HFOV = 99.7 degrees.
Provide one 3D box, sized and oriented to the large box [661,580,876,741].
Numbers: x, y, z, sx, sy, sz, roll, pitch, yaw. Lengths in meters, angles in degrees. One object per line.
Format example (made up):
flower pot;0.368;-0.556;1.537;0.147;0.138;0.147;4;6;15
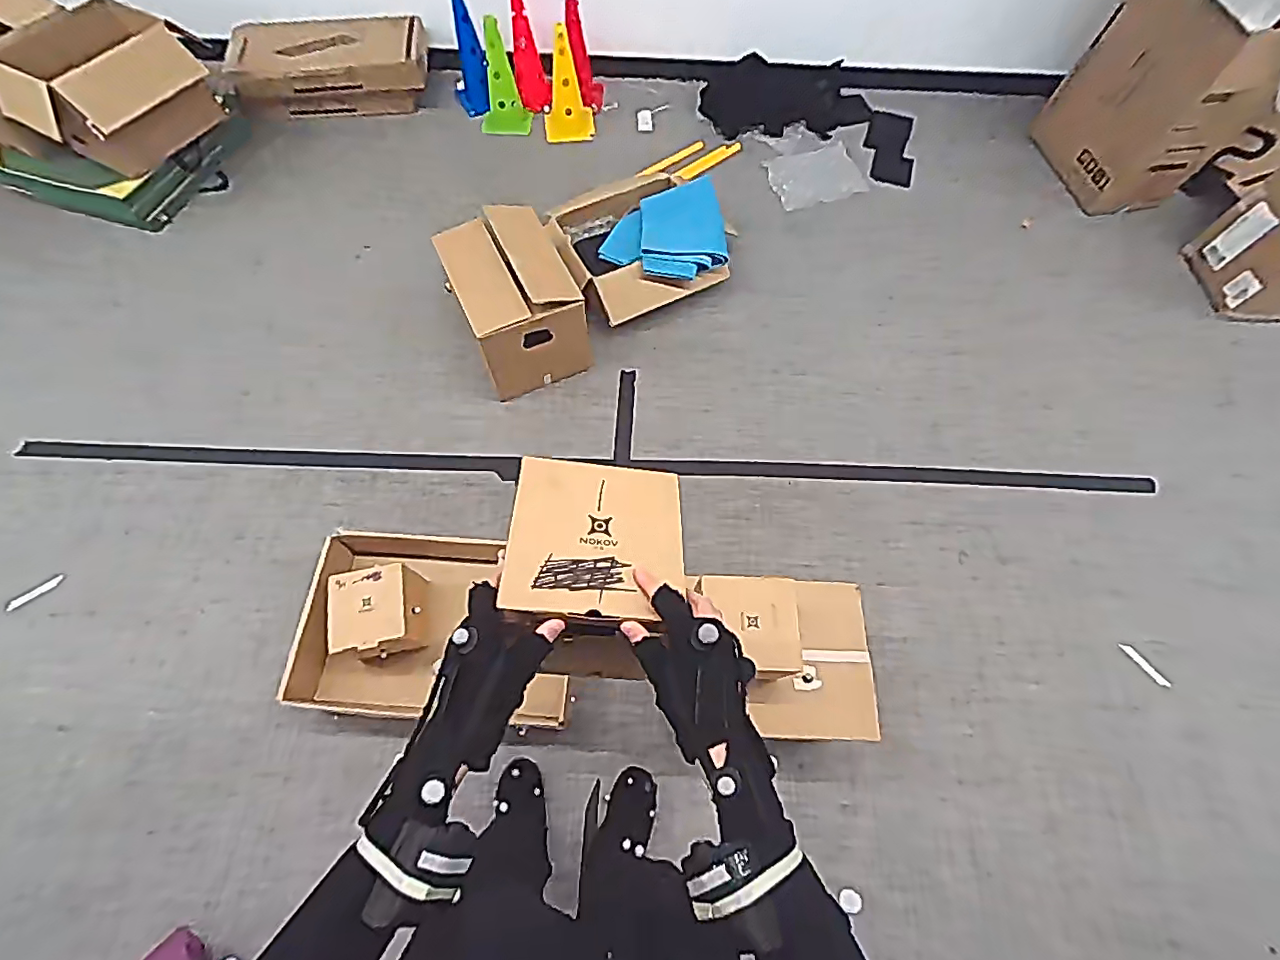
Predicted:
large box;0.258;0.426;1.244;0.408;0.320;0.320;2;65;-2

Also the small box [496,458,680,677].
small box;-0.055;0.102;0.585;0.168;0.176;0.179;7;54;-8
